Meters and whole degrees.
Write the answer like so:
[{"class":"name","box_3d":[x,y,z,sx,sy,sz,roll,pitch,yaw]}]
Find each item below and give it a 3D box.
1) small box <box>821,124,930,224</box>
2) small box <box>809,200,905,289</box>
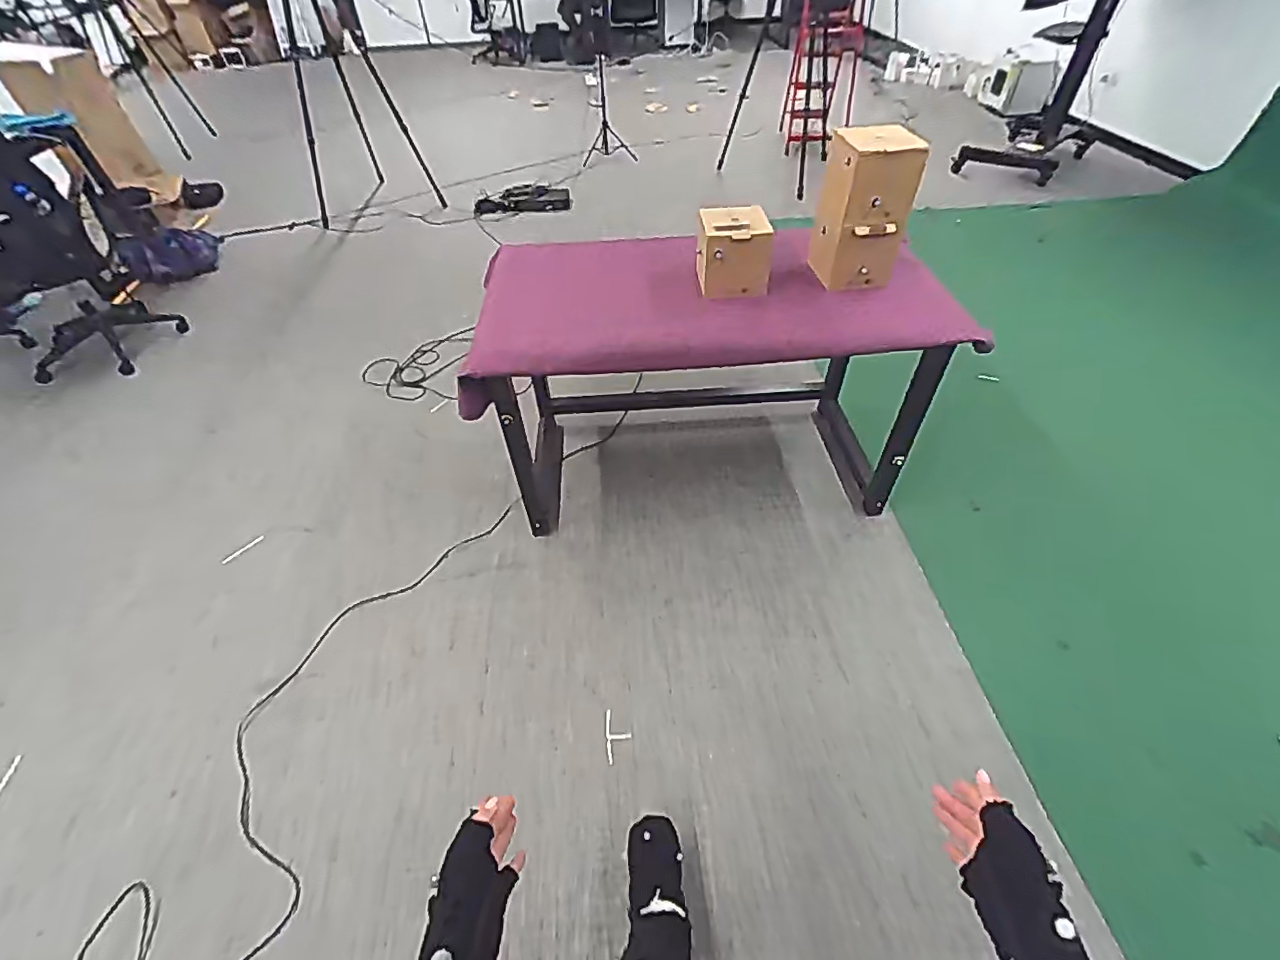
[{"class":"small box","box_3d":[0.558,-0.742,1.312,0.168,0.176,0.179,-6,48,-3]},{"class":"small box","box_3d":[0.561,-0.628,1.429,0.168,0.176,0.179,-6,48,-2]}]
